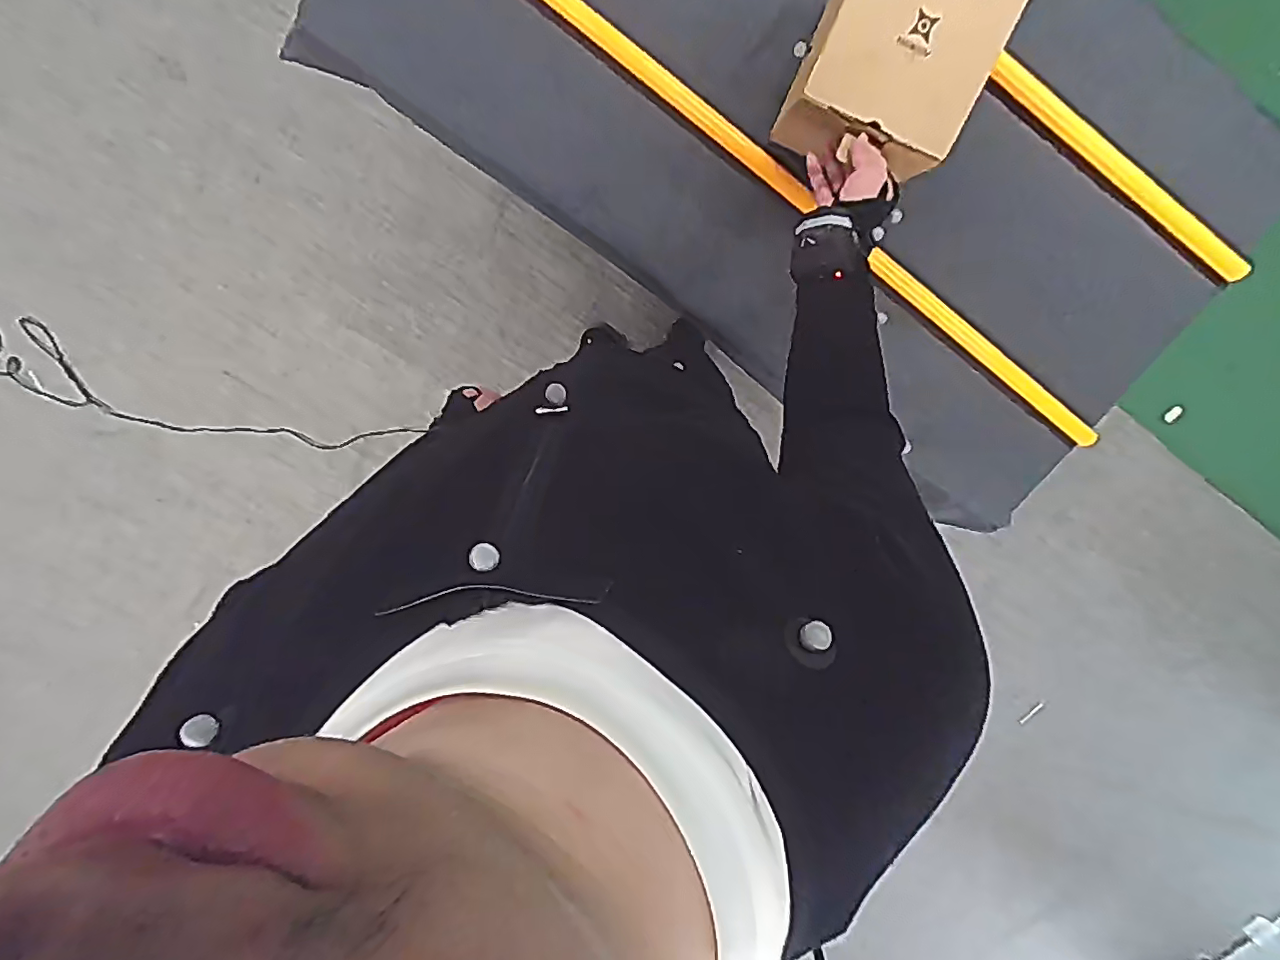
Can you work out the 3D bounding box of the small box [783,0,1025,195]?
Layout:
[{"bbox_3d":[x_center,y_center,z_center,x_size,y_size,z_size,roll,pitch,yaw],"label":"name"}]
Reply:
[{"bbox_3d":[0.276,-0.451,0.616,0.168,0.176,0.179,20,108,-2],"label":"small box"}]
